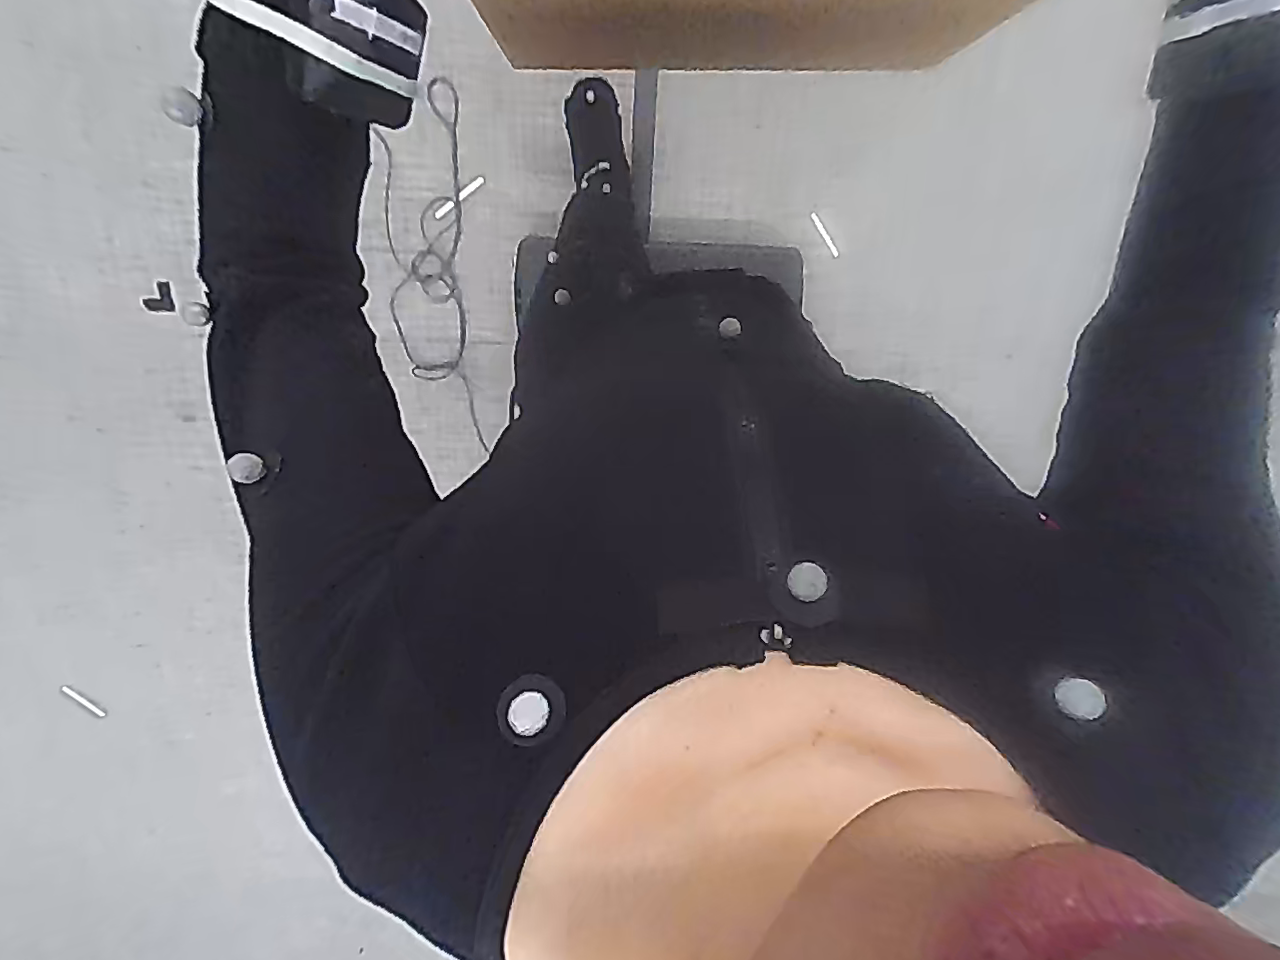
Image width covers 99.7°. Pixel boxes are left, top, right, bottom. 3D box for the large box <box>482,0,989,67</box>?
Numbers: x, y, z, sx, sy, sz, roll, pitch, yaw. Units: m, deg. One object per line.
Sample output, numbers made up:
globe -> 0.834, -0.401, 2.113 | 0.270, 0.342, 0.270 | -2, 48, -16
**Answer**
large box -> 0.074, -0.490, 0.324 | 0.408, 0.320, 0.320 | -1, 111, -1
